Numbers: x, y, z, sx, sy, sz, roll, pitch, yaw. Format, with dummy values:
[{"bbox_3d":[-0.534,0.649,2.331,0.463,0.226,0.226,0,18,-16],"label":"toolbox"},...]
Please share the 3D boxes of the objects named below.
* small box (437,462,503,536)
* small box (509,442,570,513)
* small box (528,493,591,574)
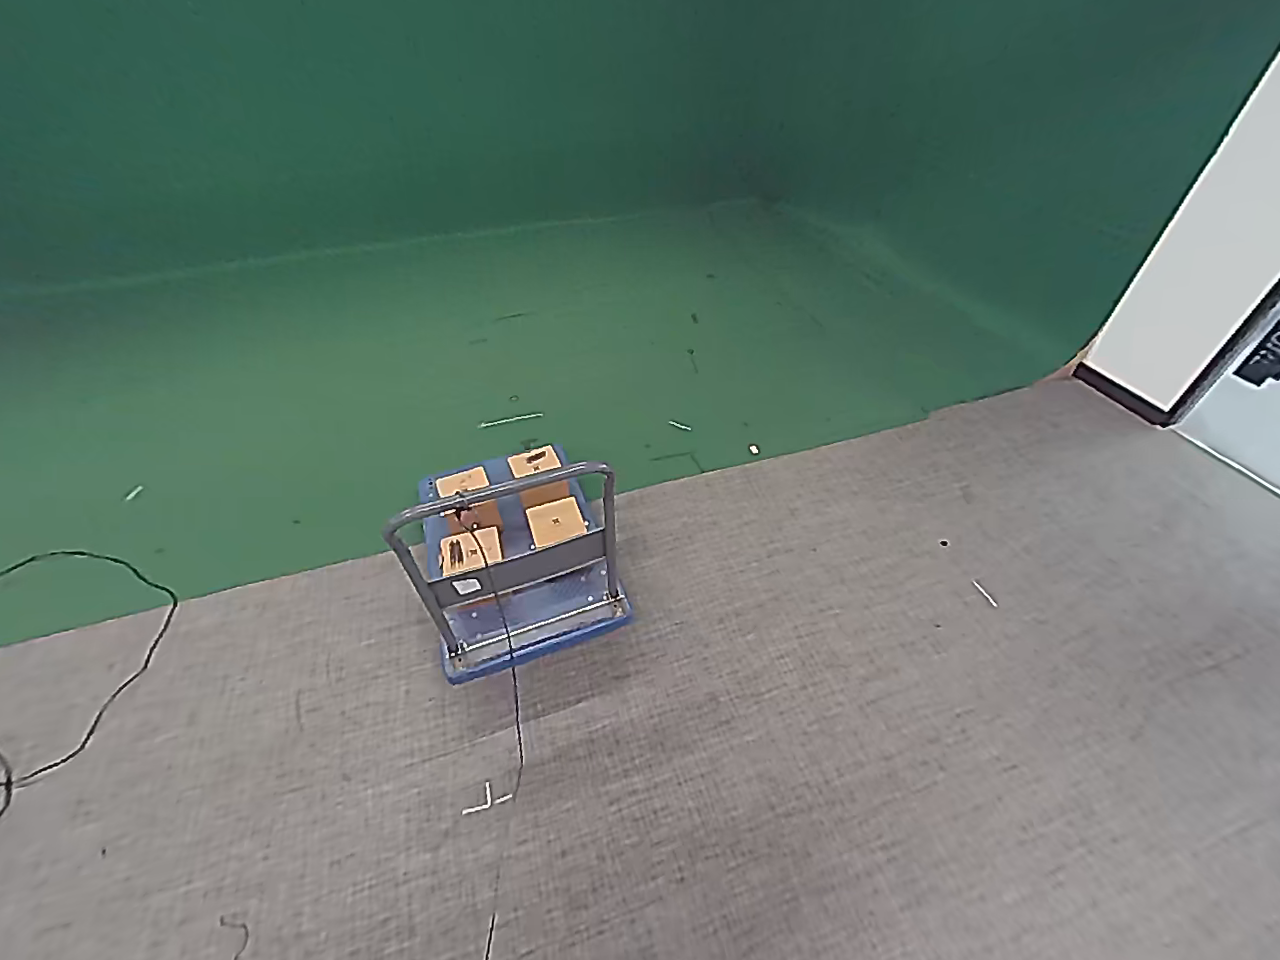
[{"bbox_3d":[-0.587,0.073,1.877,0.168,0.176,0.179,-18,48,-17],"label":"small box"},{"bbox_3d":[-0.358,-0.004,1.949,0.168,0.176,0.179,-19,49,-16],"label":"small box"},{"bbox_3d":[-0.263,0.176,1.772,0.168,0.176,0.179,-15,48,-13],"label":"small box"}]
